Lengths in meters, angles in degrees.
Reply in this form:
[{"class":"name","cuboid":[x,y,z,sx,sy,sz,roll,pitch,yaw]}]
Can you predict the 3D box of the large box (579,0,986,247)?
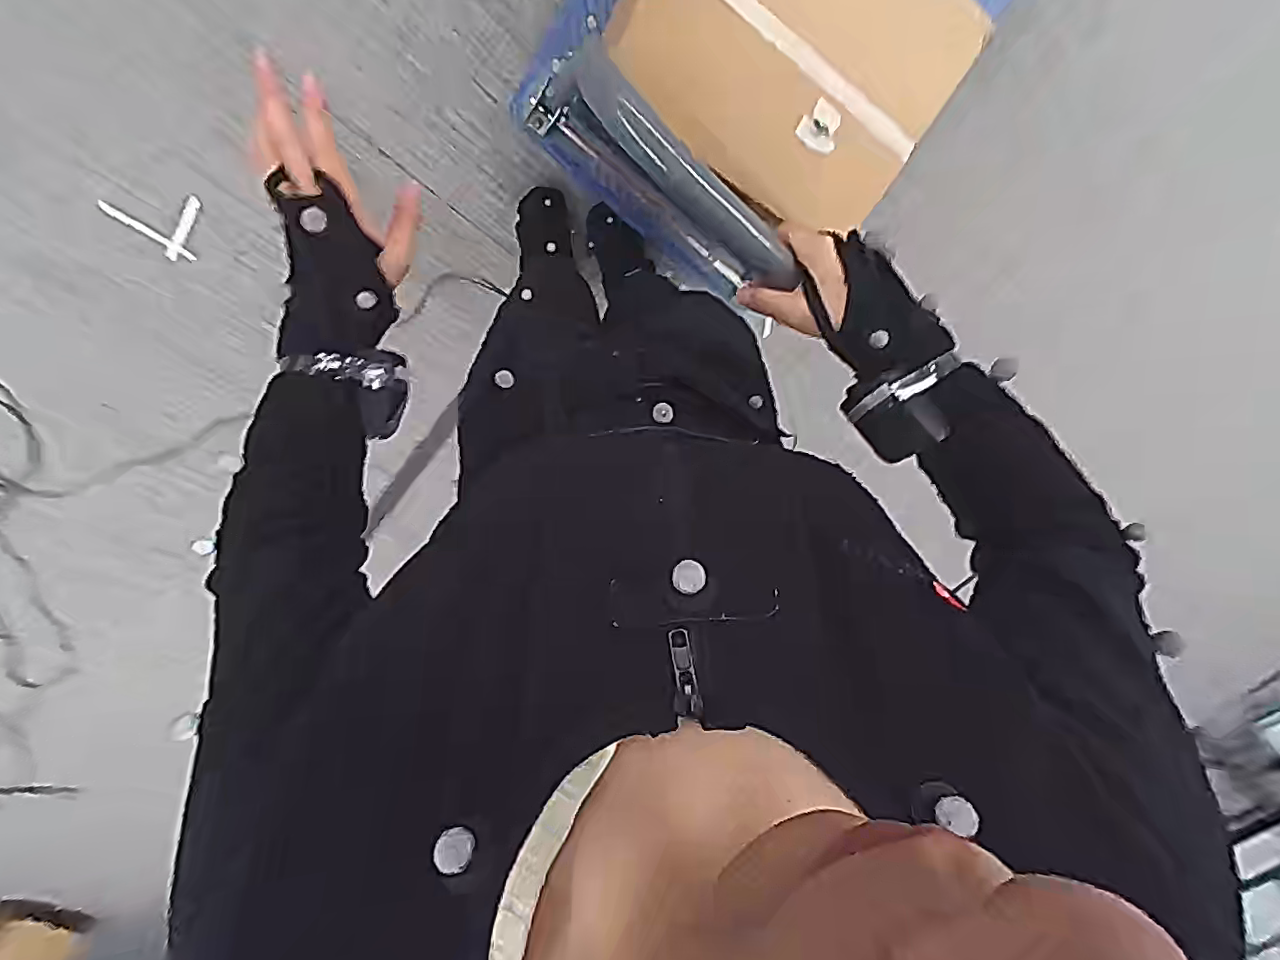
[{"class":"large box","cuboid":[0.165,-0.603,0.780,0.408,0.320,0.320,21,117,-25]}]
